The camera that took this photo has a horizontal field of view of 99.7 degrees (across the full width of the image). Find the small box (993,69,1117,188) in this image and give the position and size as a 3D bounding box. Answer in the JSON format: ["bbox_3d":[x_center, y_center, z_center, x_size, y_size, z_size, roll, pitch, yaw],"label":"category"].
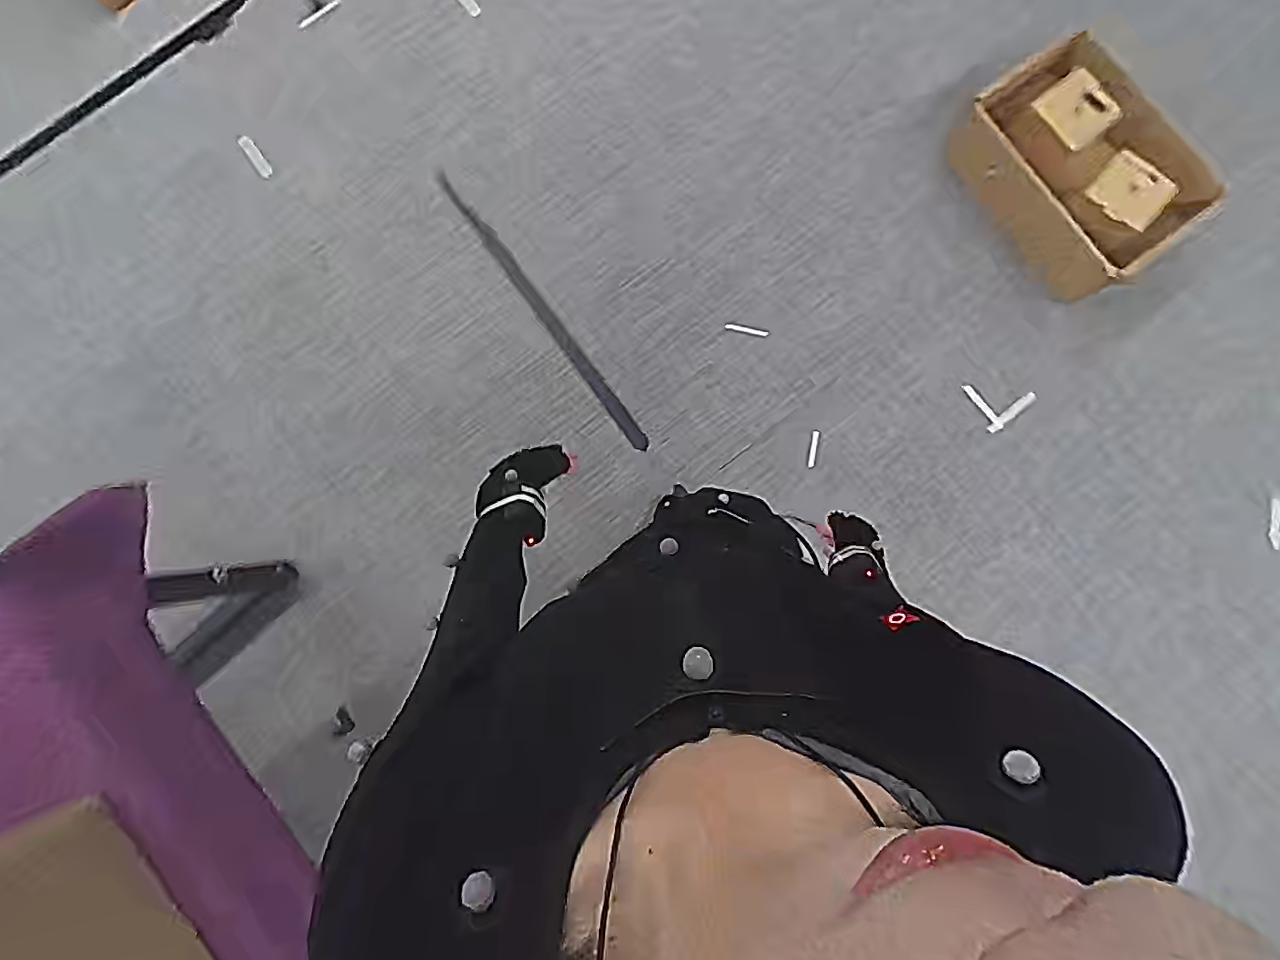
[{"bbox_3d":[1.132,-0.959,1.490,0.179,0.176,0.168,-39,87,-3],"label":"small box"}]
